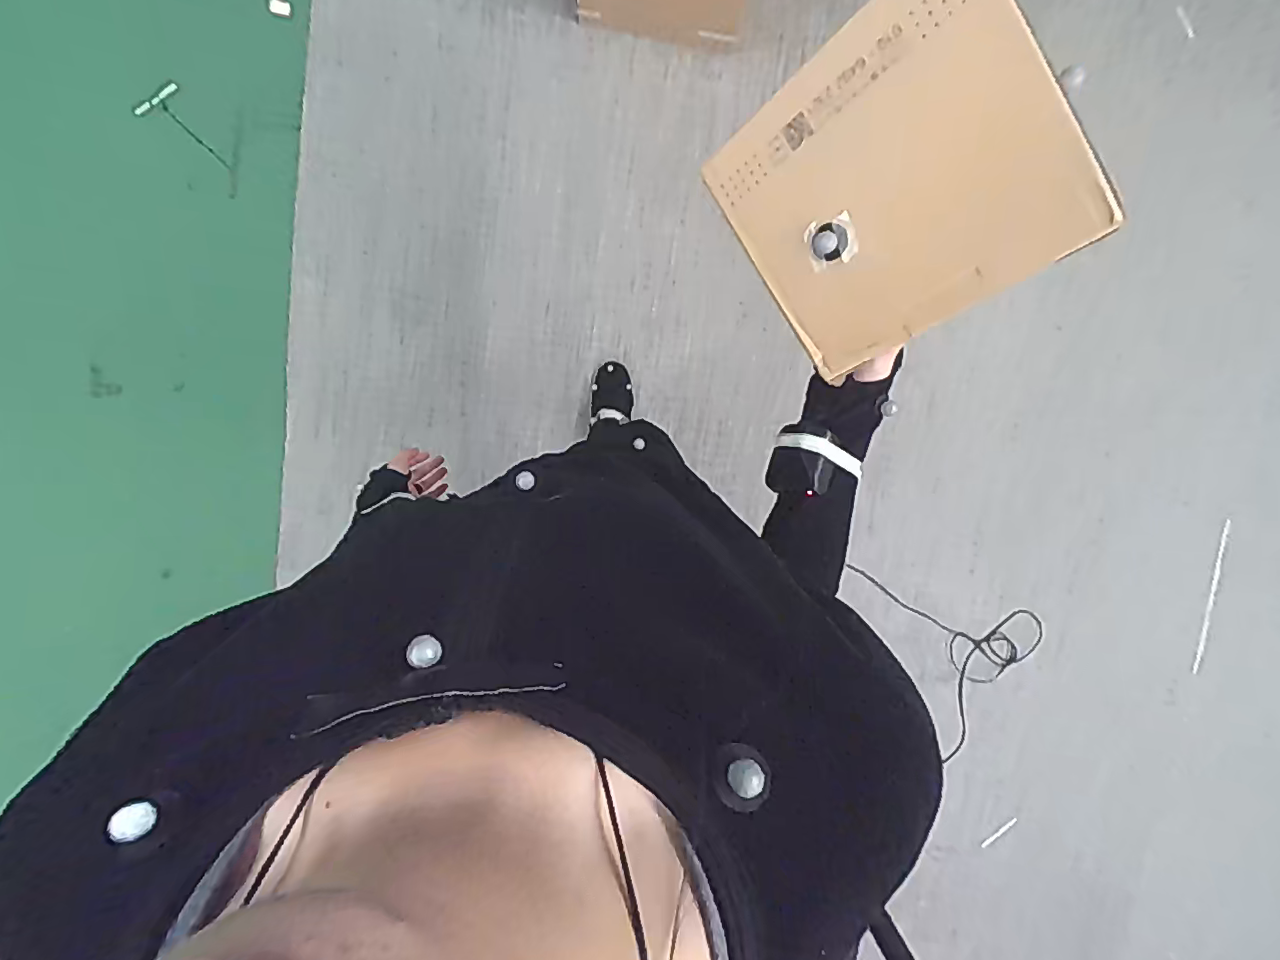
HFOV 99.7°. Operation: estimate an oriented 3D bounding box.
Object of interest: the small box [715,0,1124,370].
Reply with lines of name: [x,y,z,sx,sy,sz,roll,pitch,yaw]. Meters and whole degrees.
small box: [0.179,-0.206,0.370,0.168,0.179,0.176,-28,99,39]
